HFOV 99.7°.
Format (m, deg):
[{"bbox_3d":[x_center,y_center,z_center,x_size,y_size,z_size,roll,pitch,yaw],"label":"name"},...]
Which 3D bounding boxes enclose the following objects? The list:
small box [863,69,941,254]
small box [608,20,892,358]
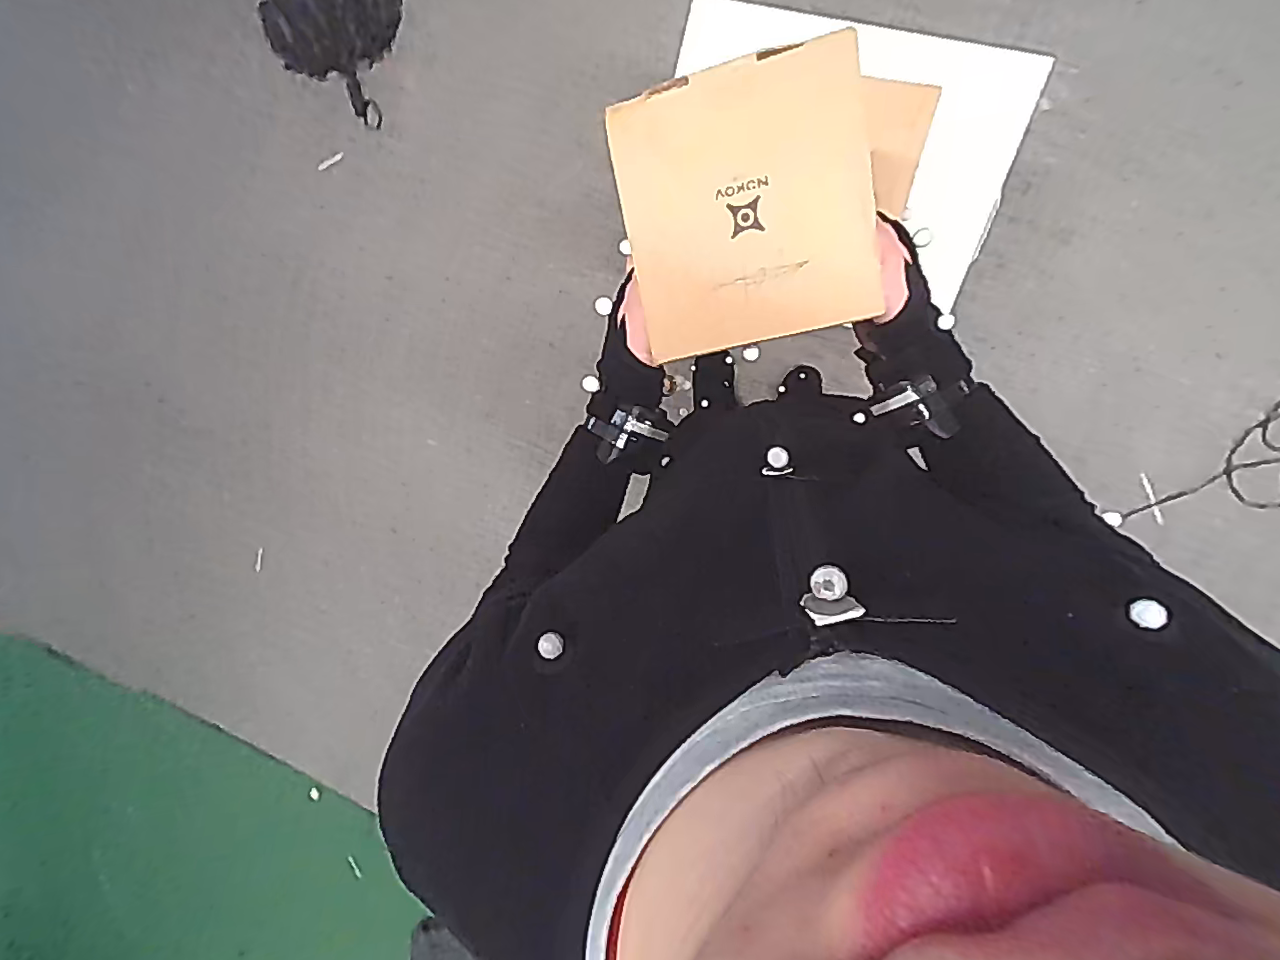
[{"bbox_3d":[0.202,-0.323,0.608,0.168,0.176,0.179,15,104,9],"label":"small box"},{"bbox_3d":[0.087,-0.205,0.439,0.168,0.176,0.179,-11,103,14],"label":"small box"}]
